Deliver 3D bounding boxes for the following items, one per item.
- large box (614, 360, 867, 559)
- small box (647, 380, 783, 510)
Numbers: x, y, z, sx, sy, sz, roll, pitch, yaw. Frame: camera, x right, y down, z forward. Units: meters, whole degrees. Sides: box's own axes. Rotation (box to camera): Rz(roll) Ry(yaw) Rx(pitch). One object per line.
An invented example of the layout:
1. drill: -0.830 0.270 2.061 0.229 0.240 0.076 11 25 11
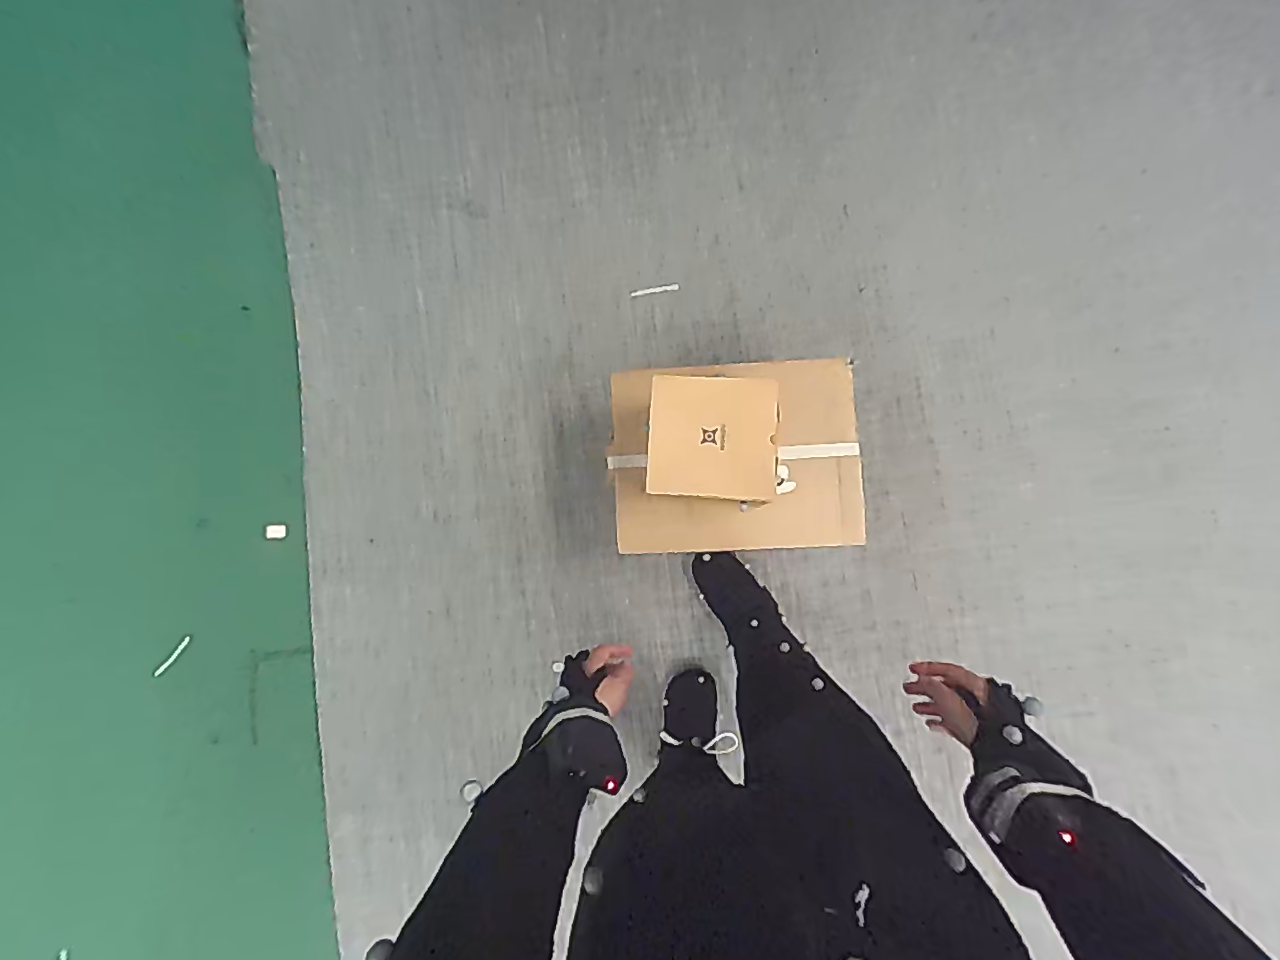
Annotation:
1. large box: 0.169 -0.022 1.041 0.408 0.320 0.320 -3 85 3
2. small box: 0.107 -0.043 0.803 0.179 0.176 0.168 3 84 4
